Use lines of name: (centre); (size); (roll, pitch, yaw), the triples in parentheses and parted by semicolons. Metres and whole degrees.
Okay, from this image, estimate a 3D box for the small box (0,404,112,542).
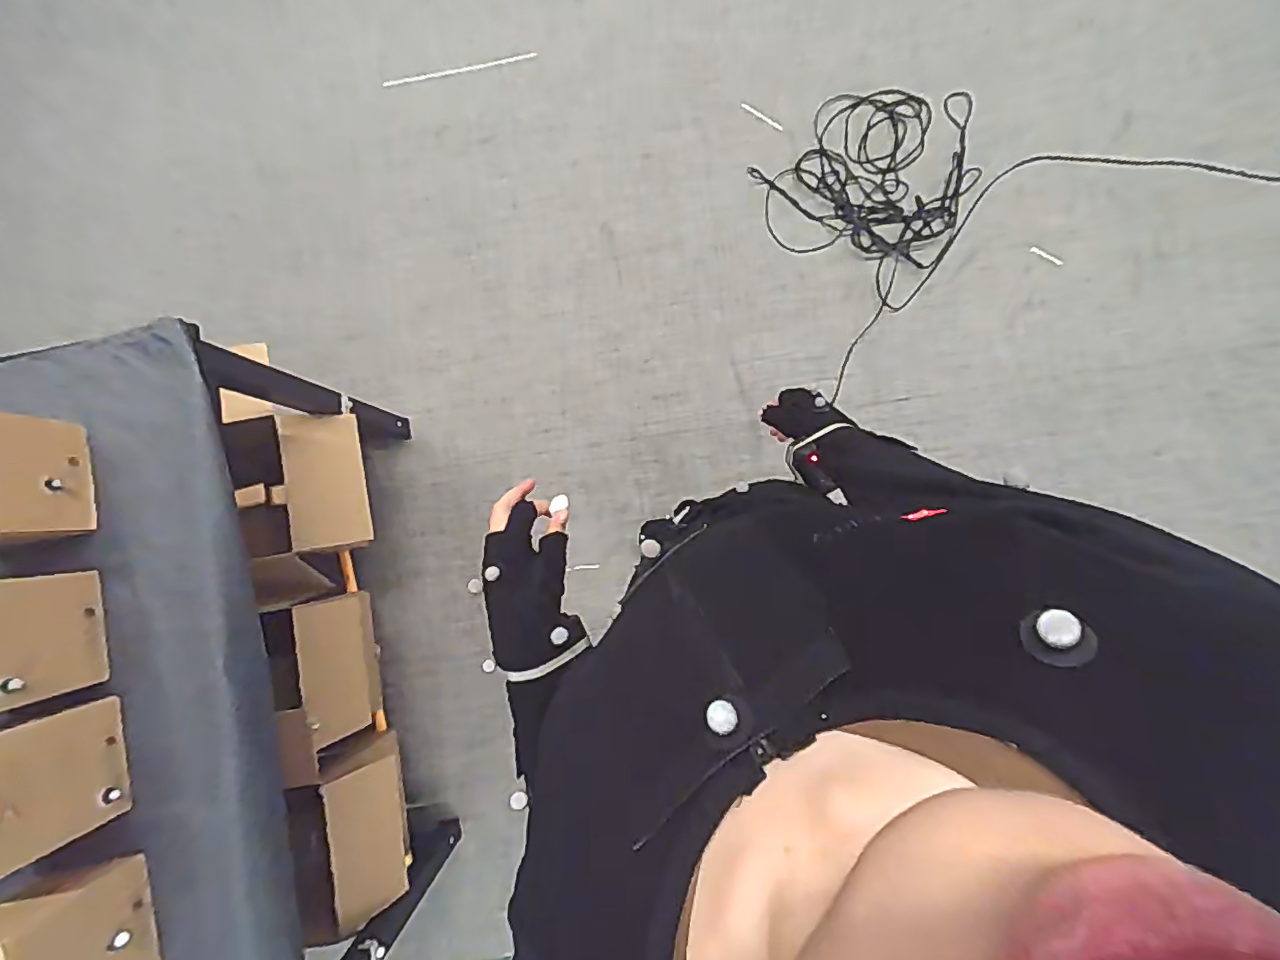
small box: (-0.914, -0.002, 0.762); (0.179, 0.176, 0.168); (-11, 86, 3)
